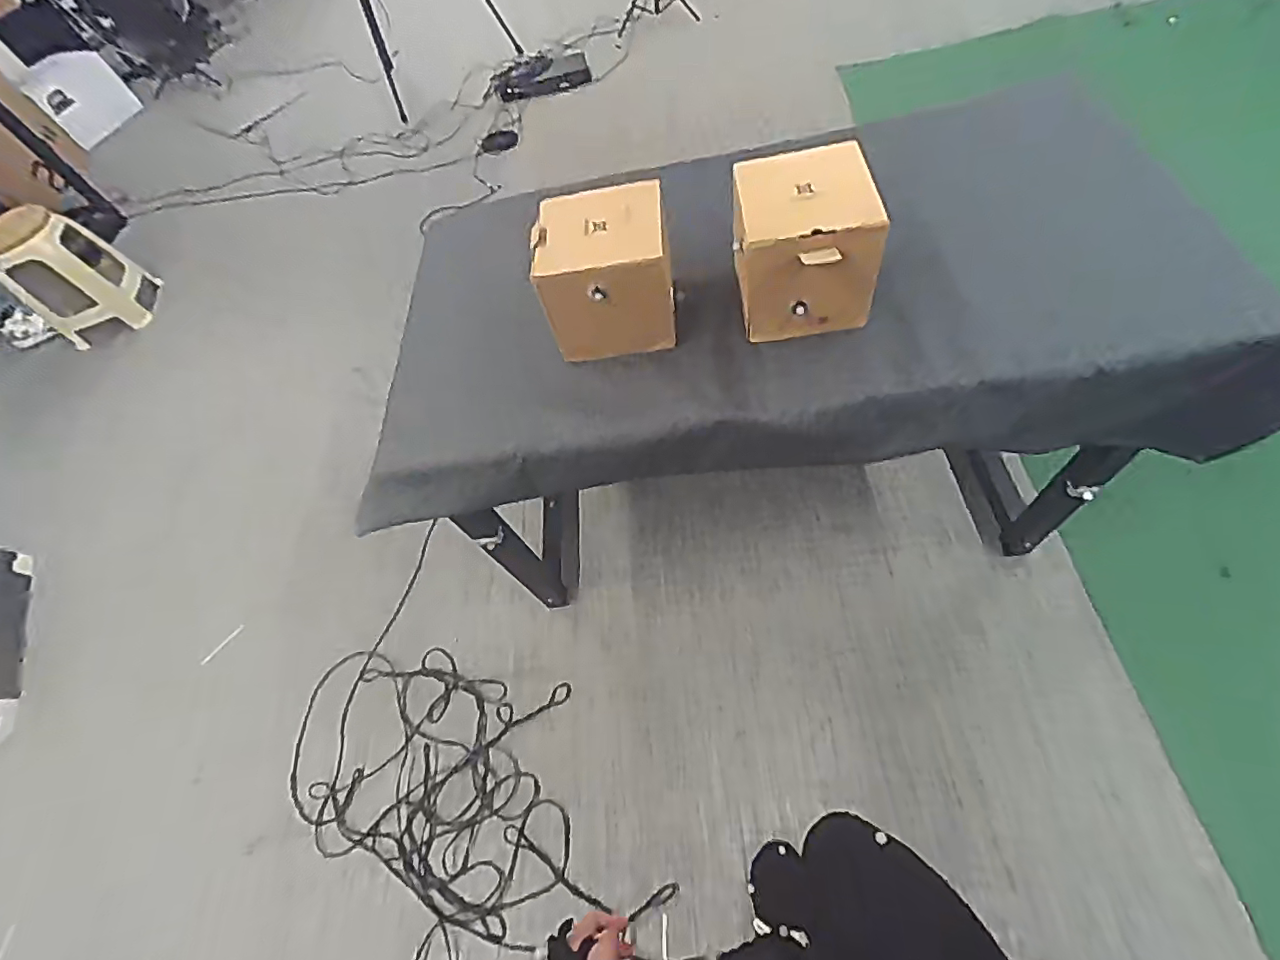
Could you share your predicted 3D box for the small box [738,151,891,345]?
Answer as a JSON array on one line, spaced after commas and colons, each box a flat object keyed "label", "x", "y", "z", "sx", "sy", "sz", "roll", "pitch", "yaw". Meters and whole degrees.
[{"label": "small box", "x": 0.226, "y": -0.317, "z": 0.754, "sx": 0.168, "sy": 0.176, "sz": 0.179, "roll": -6, "pitch": 59, "yaw": 8}]

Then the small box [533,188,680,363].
[{"label": "small box", "x": -0.040, "y": -0.290, "z": 0.794, "sx": 0.179, "sy": 0.176, "sz": 0.168, "roll": -5, "pitch": 59, "yaw": 8}]
